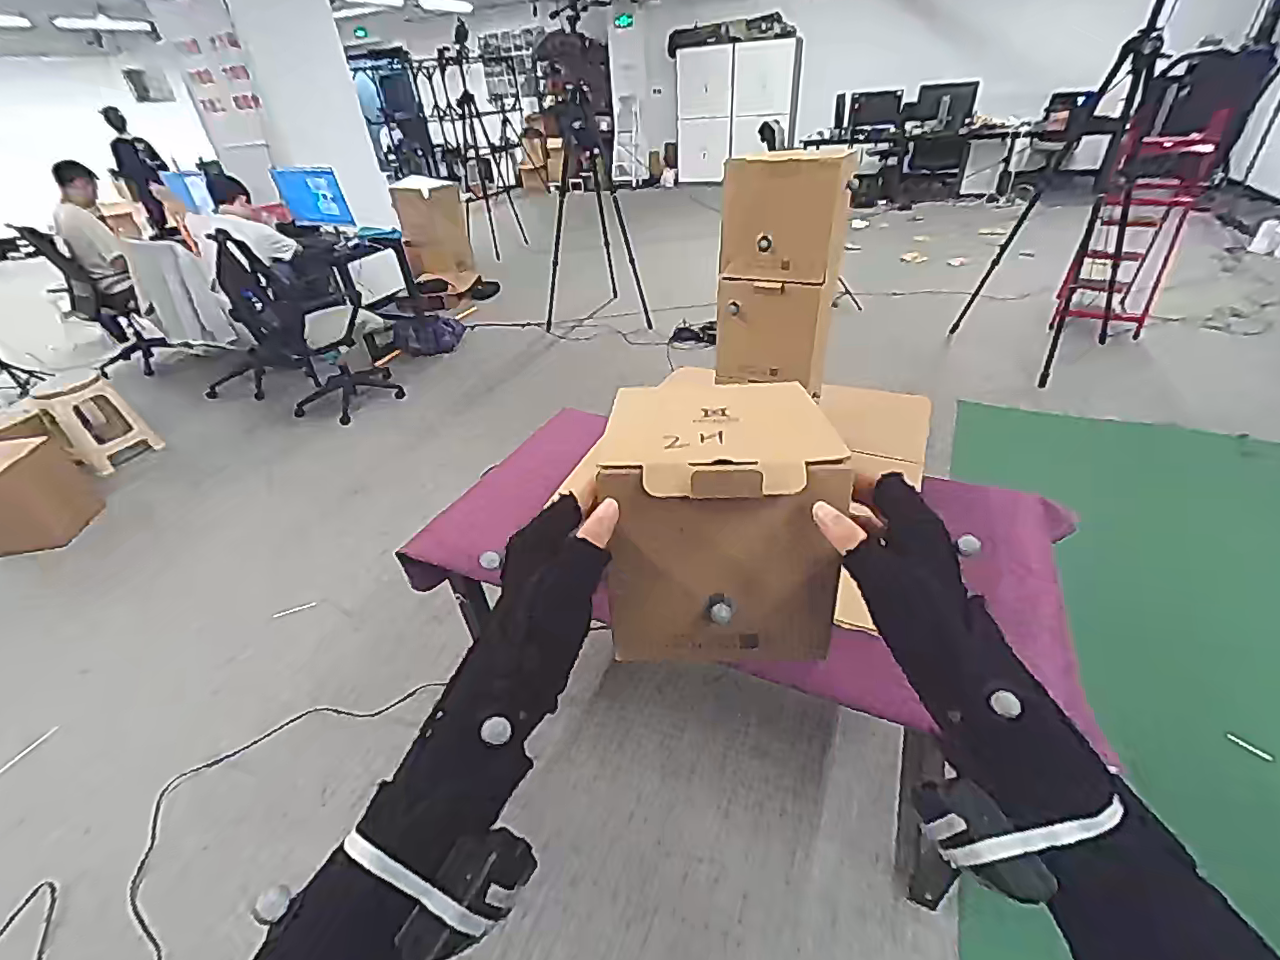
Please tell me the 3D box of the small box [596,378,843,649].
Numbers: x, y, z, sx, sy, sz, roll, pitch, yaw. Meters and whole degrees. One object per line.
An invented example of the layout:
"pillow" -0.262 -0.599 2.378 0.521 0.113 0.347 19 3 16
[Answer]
"small box" 0.060 0.019 0.464 0.168 0.176 0.179 -2 28 5

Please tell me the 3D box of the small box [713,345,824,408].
"small box" 0.246 -0.145 1.042 0.168 0.176 0.179 13 37 23

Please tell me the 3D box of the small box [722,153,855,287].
"small box" 0.233 -0.420 0.864 0.168 0.176 0.179 12 37 21
